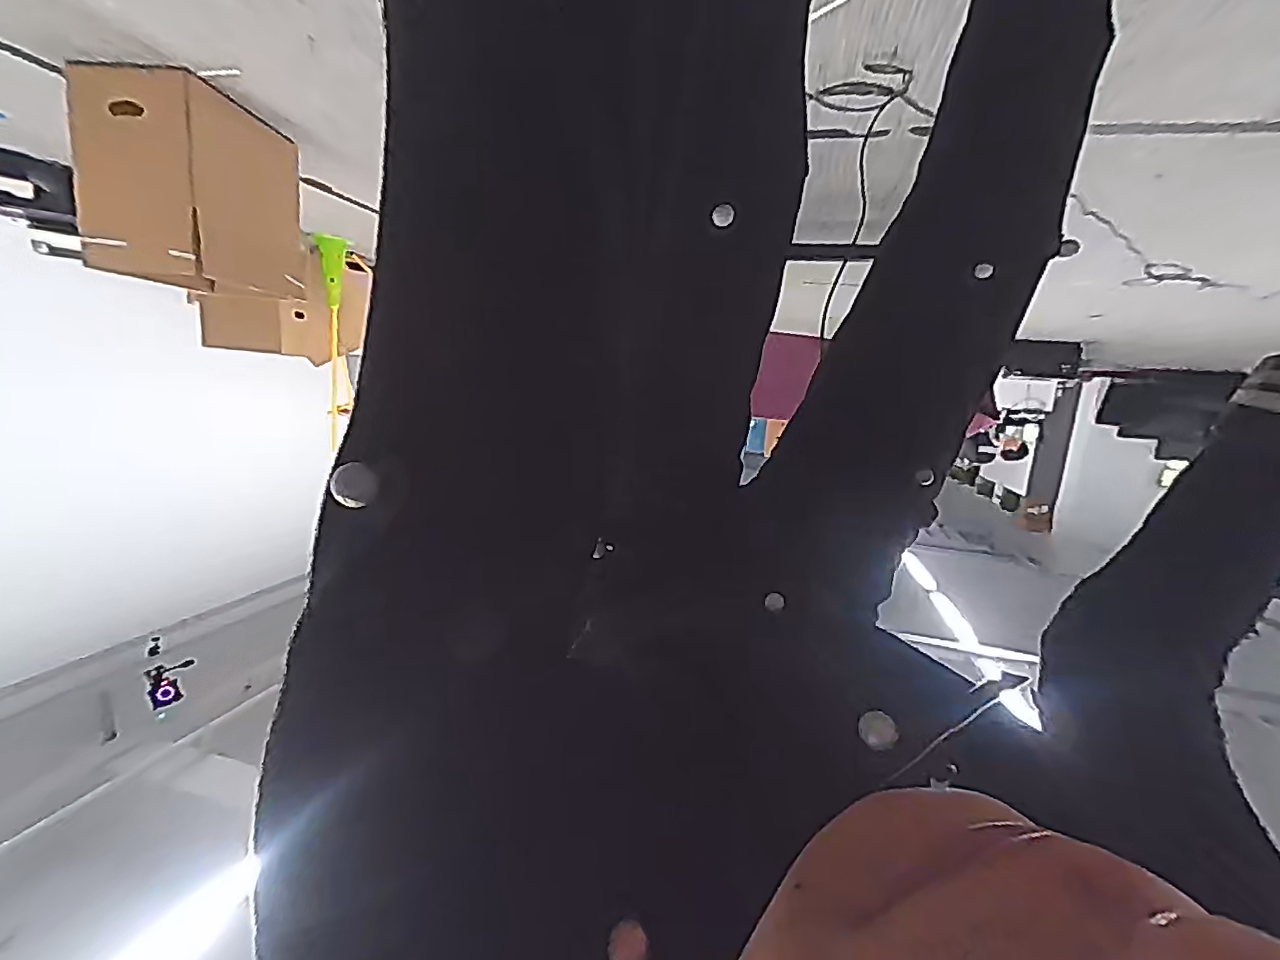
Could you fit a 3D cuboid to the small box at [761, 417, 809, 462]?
[{"bbox_3d":[0.611,-0.174,2.268,0.168,0.176,0.179,9,-169,21],"label":"small box"}]
